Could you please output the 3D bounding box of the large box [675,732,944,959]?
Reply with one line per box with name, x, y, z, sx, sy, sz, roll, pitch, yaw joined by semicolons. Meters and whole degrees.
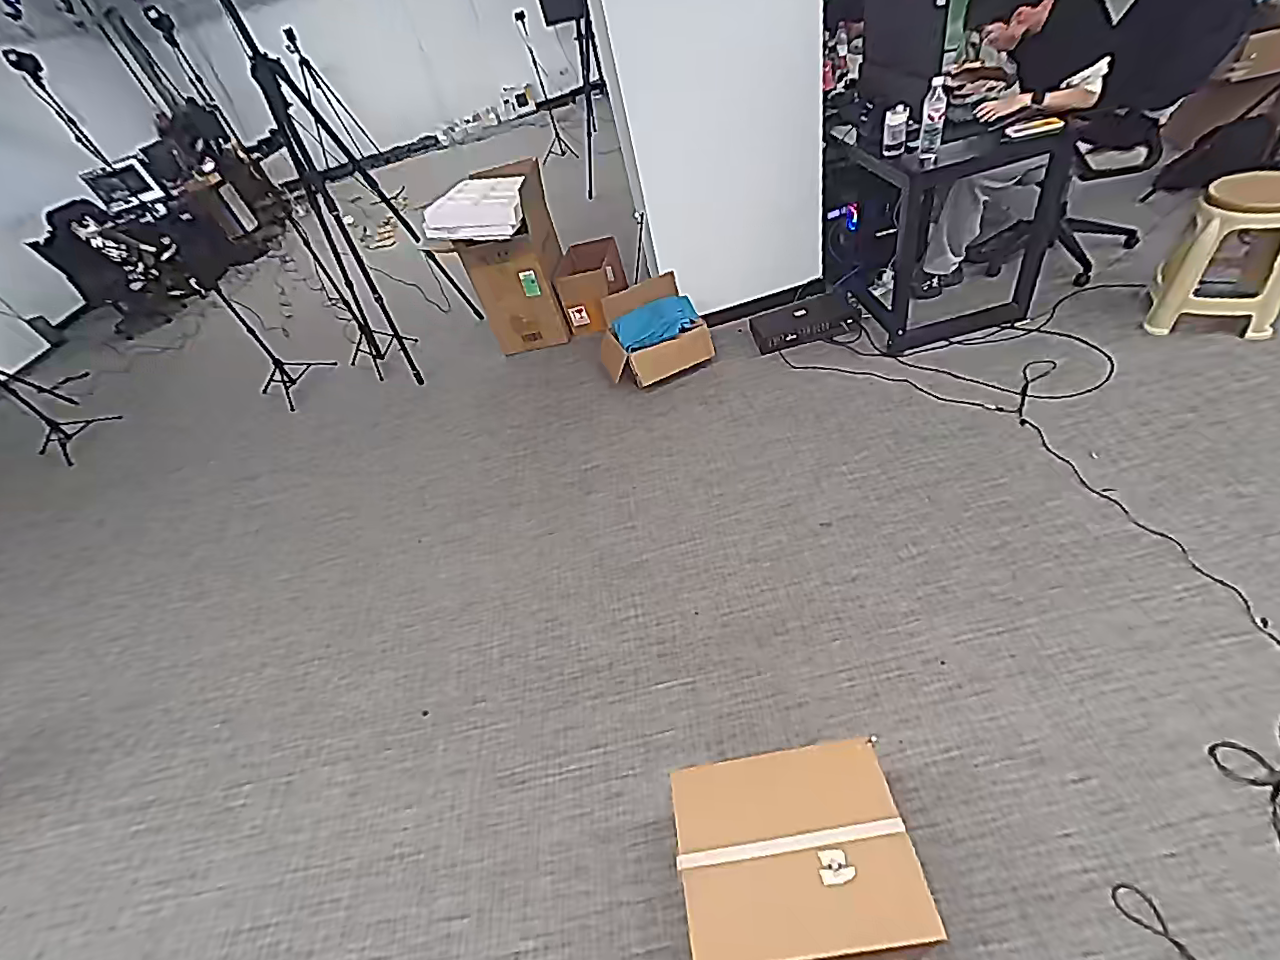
large box;0.308;0.753;1.076;0.408;0.320;0.320;-13;44;5
